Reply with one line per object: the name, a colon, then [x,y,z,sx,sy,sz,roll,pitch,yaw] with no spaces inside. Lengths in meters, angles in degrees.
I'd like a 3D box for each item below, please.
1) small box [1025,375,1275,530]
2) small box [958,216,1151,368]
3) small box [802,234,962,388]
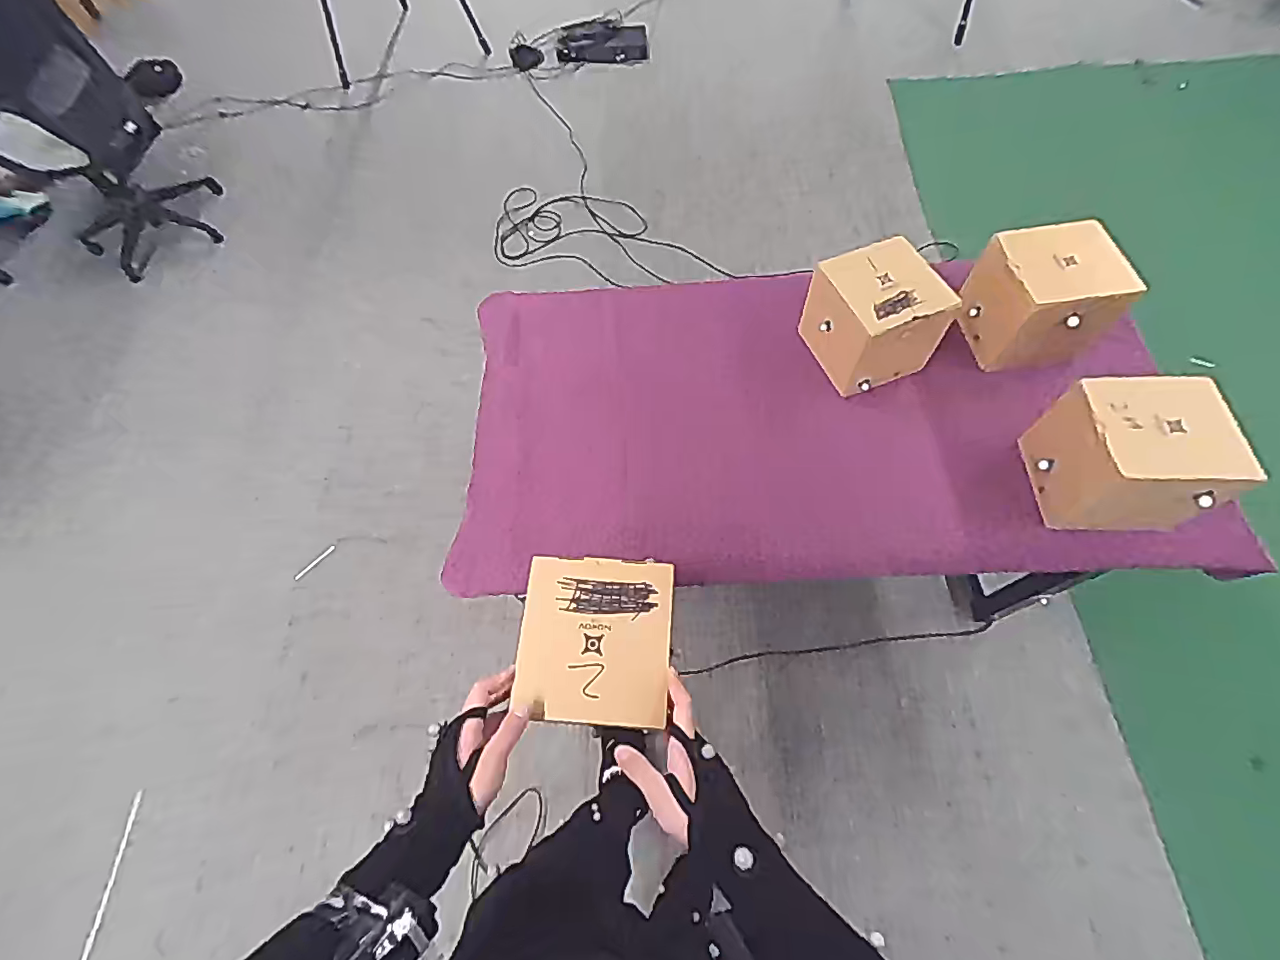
small box: [0.710,-0.035,0.781,0.179,0.176,0.168,0,62,6]
small box: [0.692,-0.316,0.929,0.179,0.176,0.168,-8,63,2]
small box: [0.404,-0.281,0.938,0.168,0.176,0.179,-20,63,-5]
